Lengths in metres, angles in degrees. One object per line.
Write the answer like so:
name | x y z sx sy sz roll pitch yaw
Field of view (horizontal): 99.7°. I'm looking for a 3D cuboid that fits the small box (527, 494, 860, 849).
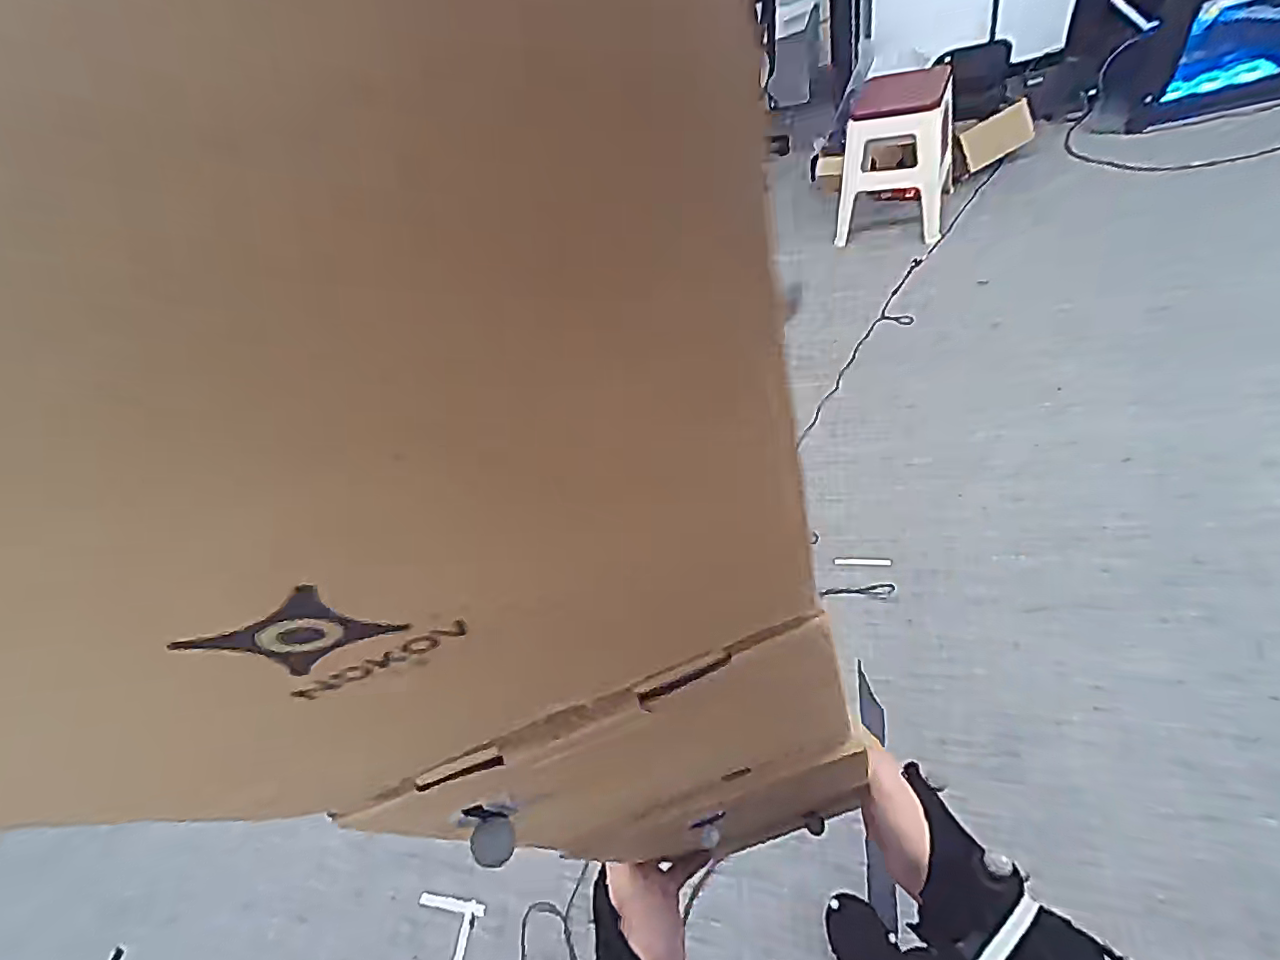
small box | 0.041 0.146 0.390 0.179 0.176 0.168 -23 50 5
